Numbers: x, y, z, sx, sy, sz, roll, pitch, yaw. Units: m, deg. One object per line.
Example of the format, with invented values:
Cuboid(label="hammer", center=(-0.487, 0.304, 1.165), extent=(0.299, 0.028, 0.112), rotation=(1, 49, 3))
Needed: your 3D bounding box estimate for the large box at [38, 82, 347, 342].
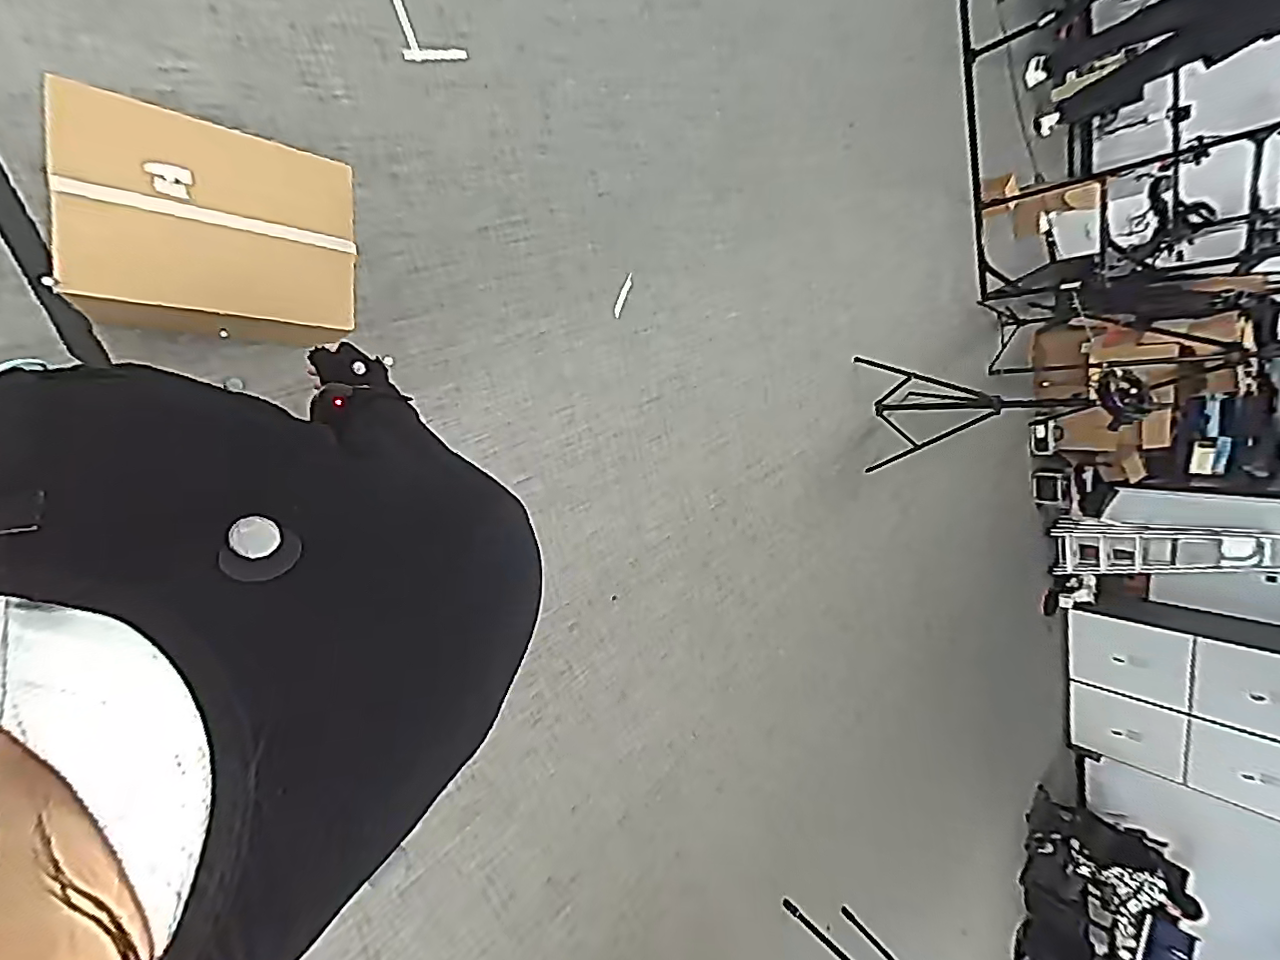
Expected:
Cuboid(label="large box", center=(-0.819, -0.456, 1.042), extent=(0.408, 0.320, 0.320), rotation=(-2, 95, -38))
